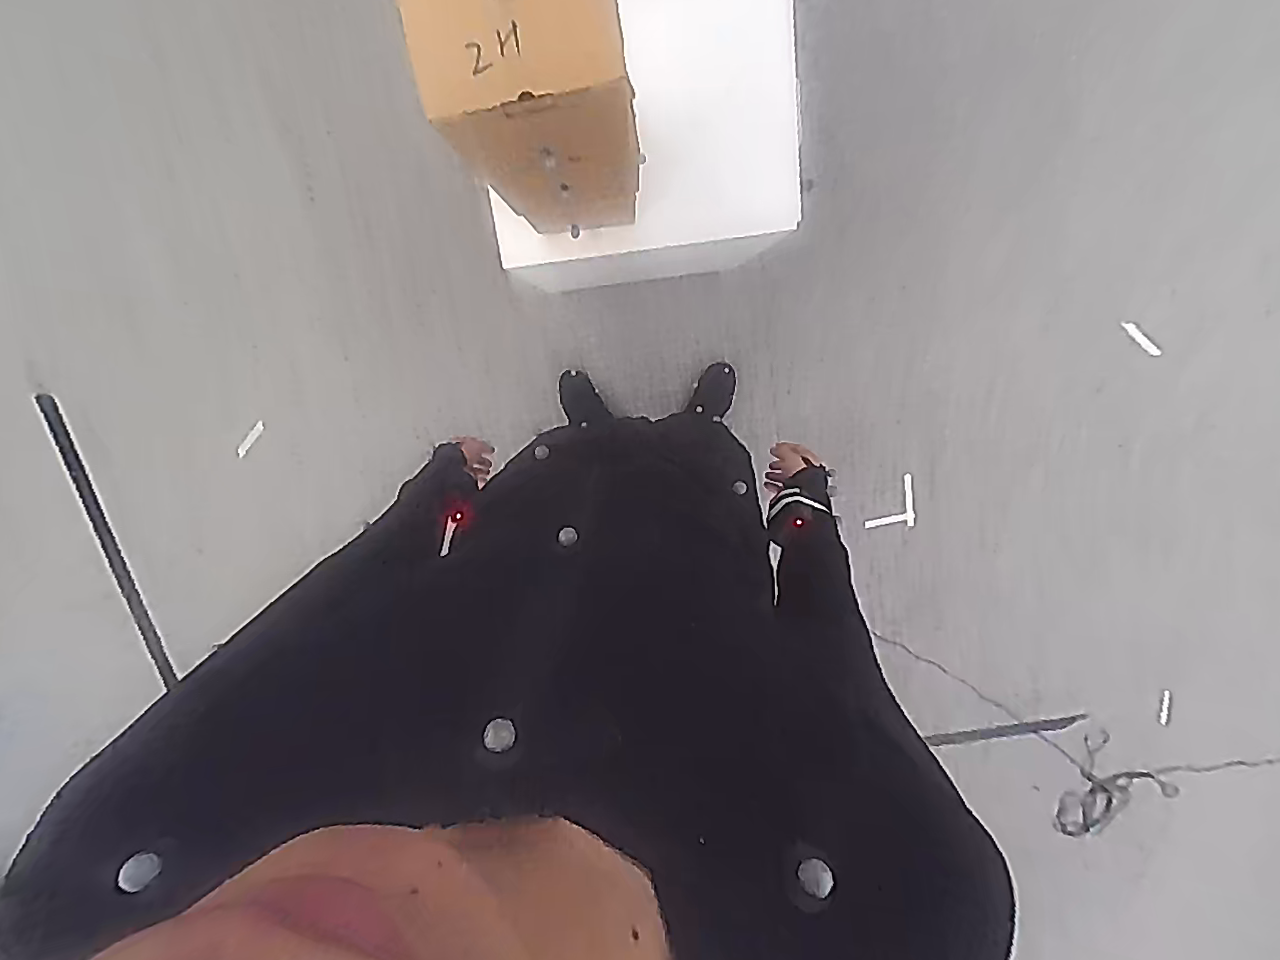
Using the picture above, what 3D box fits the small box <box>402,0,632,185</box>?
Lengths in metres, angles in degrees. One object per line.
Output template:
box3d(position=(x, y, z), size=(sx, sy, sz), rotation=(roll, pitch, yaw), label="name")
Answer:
box3d(position=(-0.102, -0.398, 0.489), size=(0.168, 0.176, 0.179), rotation=(-10, 104, 3), label="small box")

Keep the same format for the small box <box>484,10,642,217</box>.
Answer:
box3d(position=(-0.098, -0.434, 0.650), size=(0.179, 0.176, 0.168), rotation=(-10, 103, 3), label="small box")

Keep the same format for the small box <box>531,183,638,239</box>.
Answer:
box3d(position=(-0.094, -0.476, 0.808), size=(0.168, 0.176, 0.179), rotation=(-7, 104, 0), label="small box")
